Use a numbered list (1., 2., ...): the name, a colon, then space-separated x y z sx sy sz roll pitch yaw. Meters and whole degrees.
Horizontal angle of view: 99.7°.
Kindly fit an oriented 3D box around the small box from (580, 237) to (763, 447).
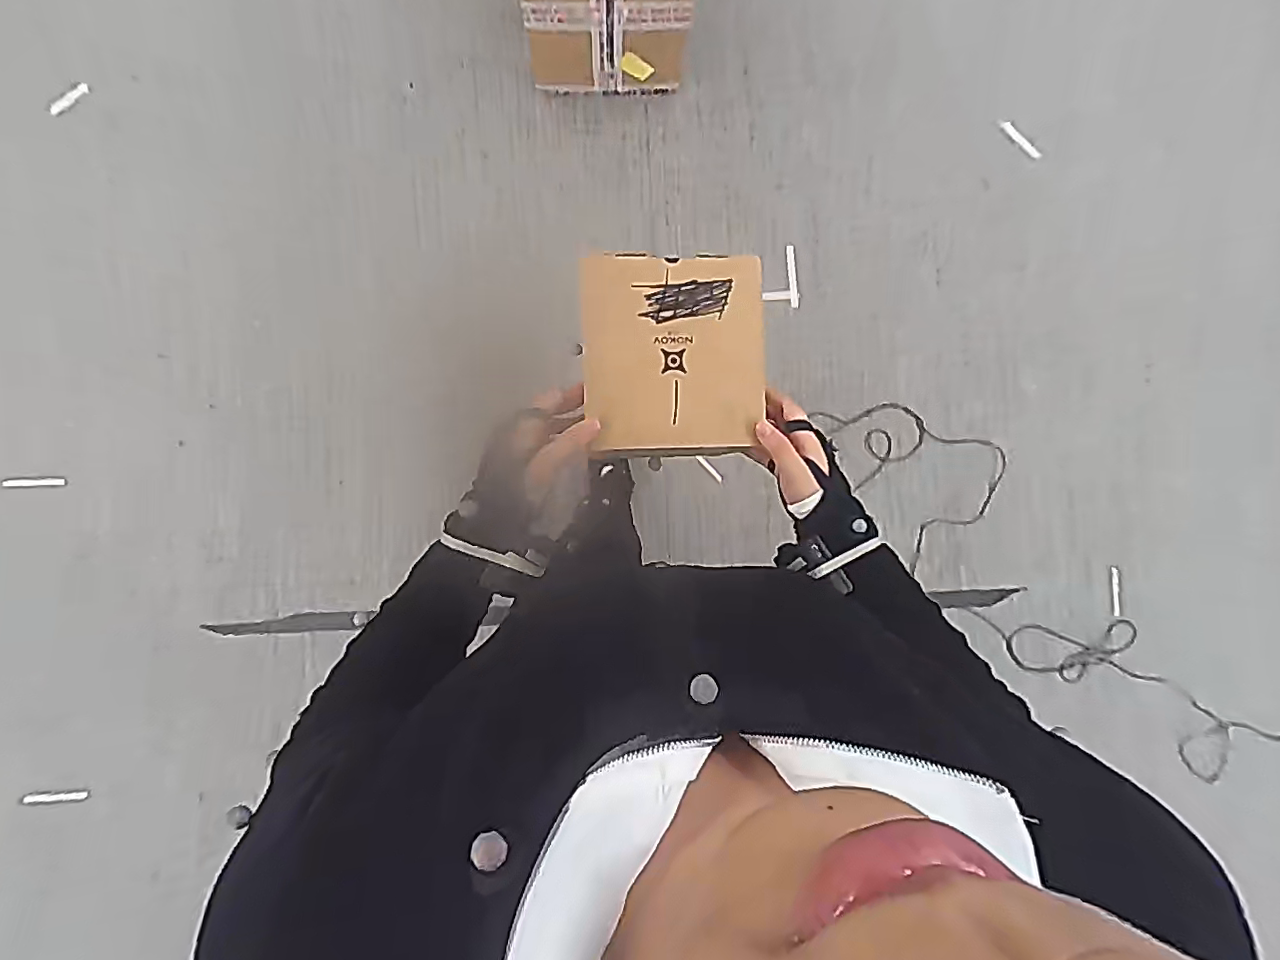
1. small box: 0.021 -0.129 0.565 0.168 0.176 0.179 -1 90 -6
